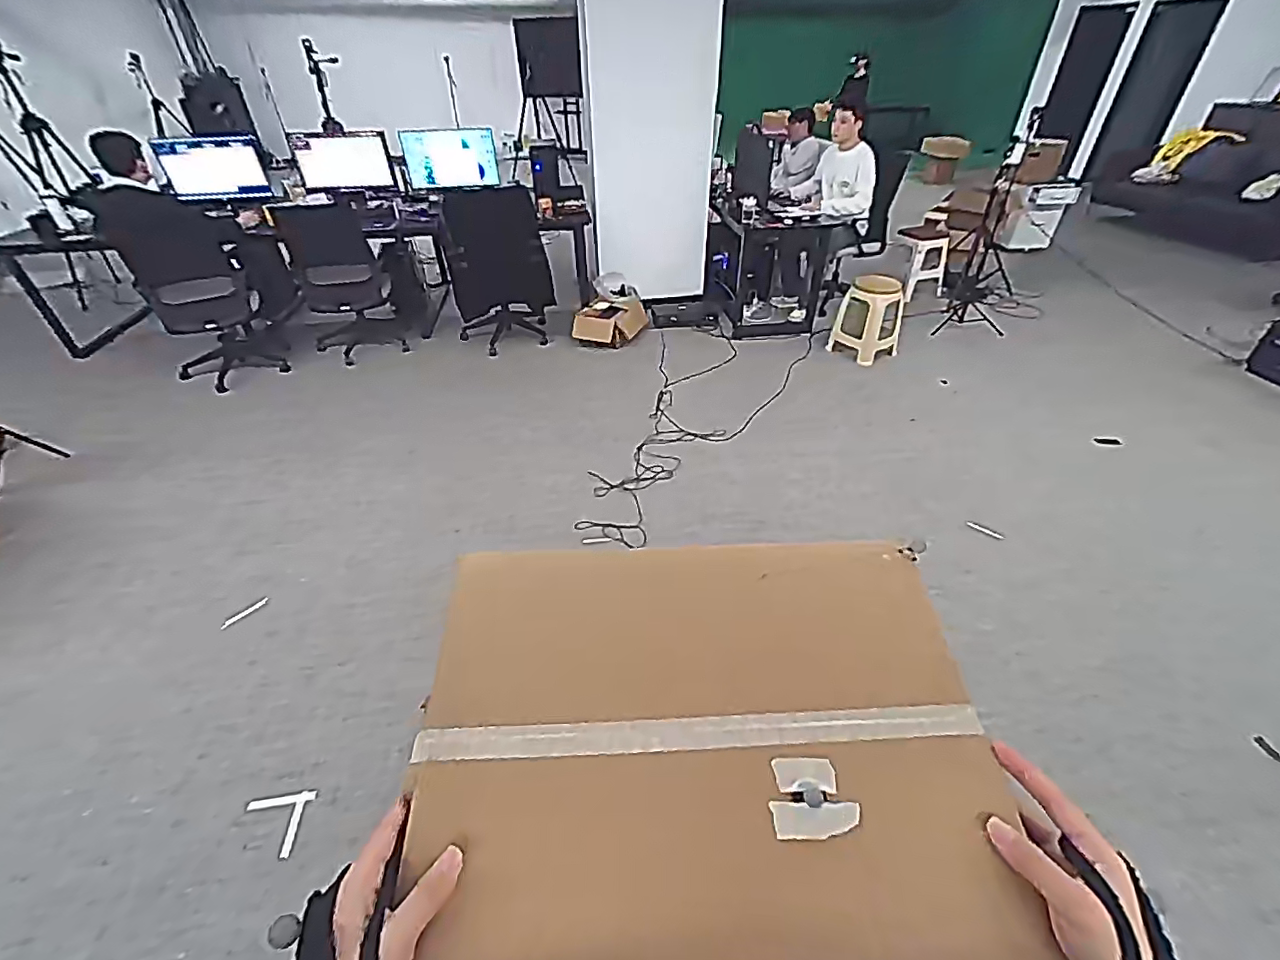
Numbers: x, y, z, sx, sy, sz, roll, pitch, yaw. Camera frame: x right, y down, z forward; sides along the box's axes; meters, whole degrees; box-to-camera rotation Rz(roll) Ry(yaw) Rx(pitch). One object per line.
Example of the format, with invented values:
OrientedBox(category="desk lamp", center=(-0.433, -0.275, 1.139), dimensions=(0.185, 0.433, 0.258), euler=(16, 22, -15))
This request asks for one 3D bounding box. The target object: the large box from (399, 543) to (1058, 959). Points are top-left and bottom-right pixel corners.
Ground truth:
OrientedBox(category="large box", center=(0.044, 0.278, 0.520), dimensions=(0.408, 0.320, 0.320), euler=(-1, 53, -2))
